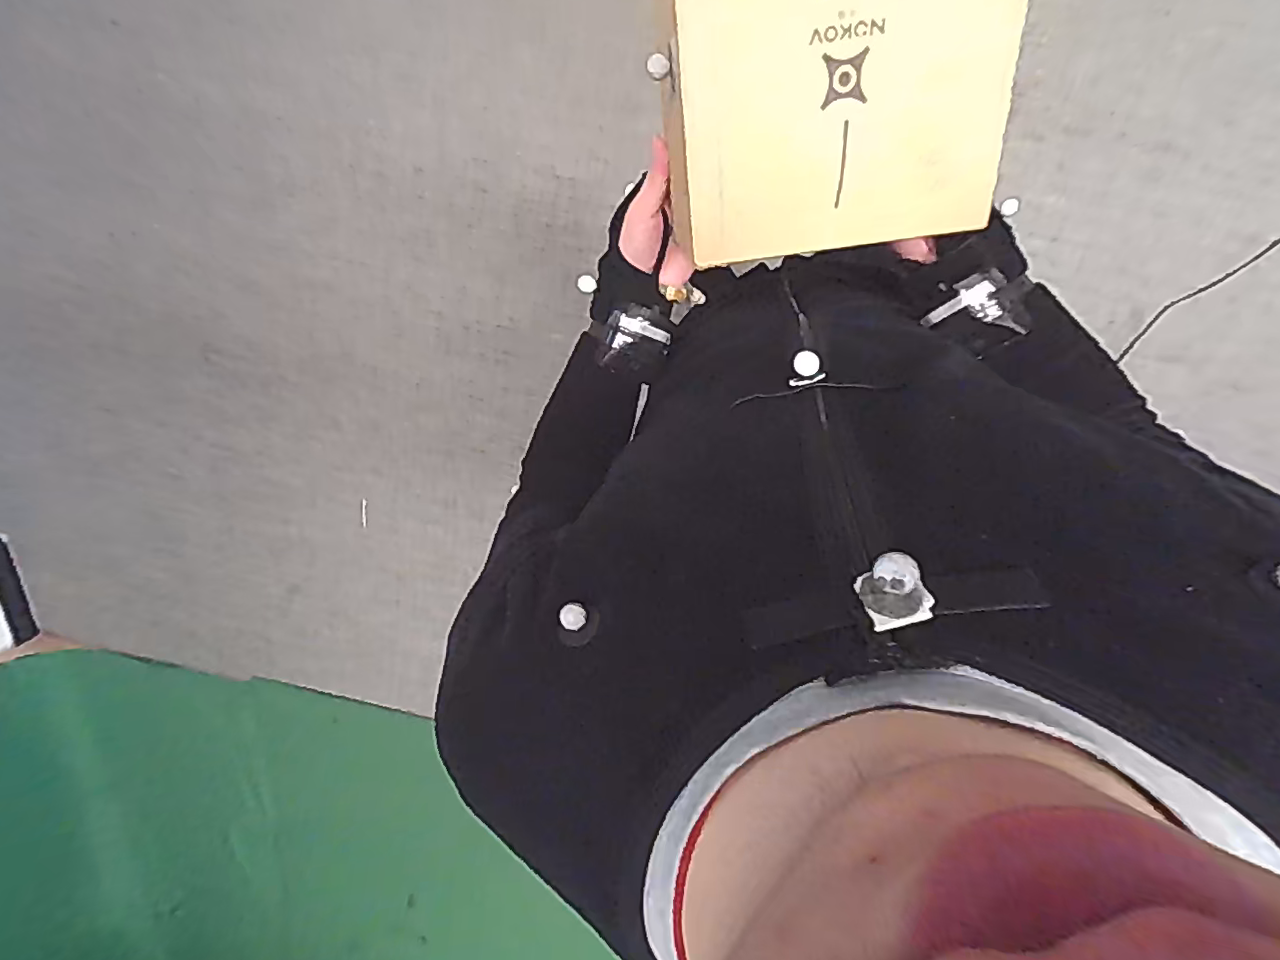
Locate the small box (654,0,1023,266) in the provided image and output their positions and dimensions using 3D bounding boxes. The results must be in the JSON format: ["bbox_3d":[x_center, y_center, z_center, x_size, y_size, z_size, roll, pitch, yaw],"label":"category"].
[{"bbox_3d":[0.100,-0.245,0.337,0.168,0.176,0.179,-6,121,3],"label":"small box"}]
